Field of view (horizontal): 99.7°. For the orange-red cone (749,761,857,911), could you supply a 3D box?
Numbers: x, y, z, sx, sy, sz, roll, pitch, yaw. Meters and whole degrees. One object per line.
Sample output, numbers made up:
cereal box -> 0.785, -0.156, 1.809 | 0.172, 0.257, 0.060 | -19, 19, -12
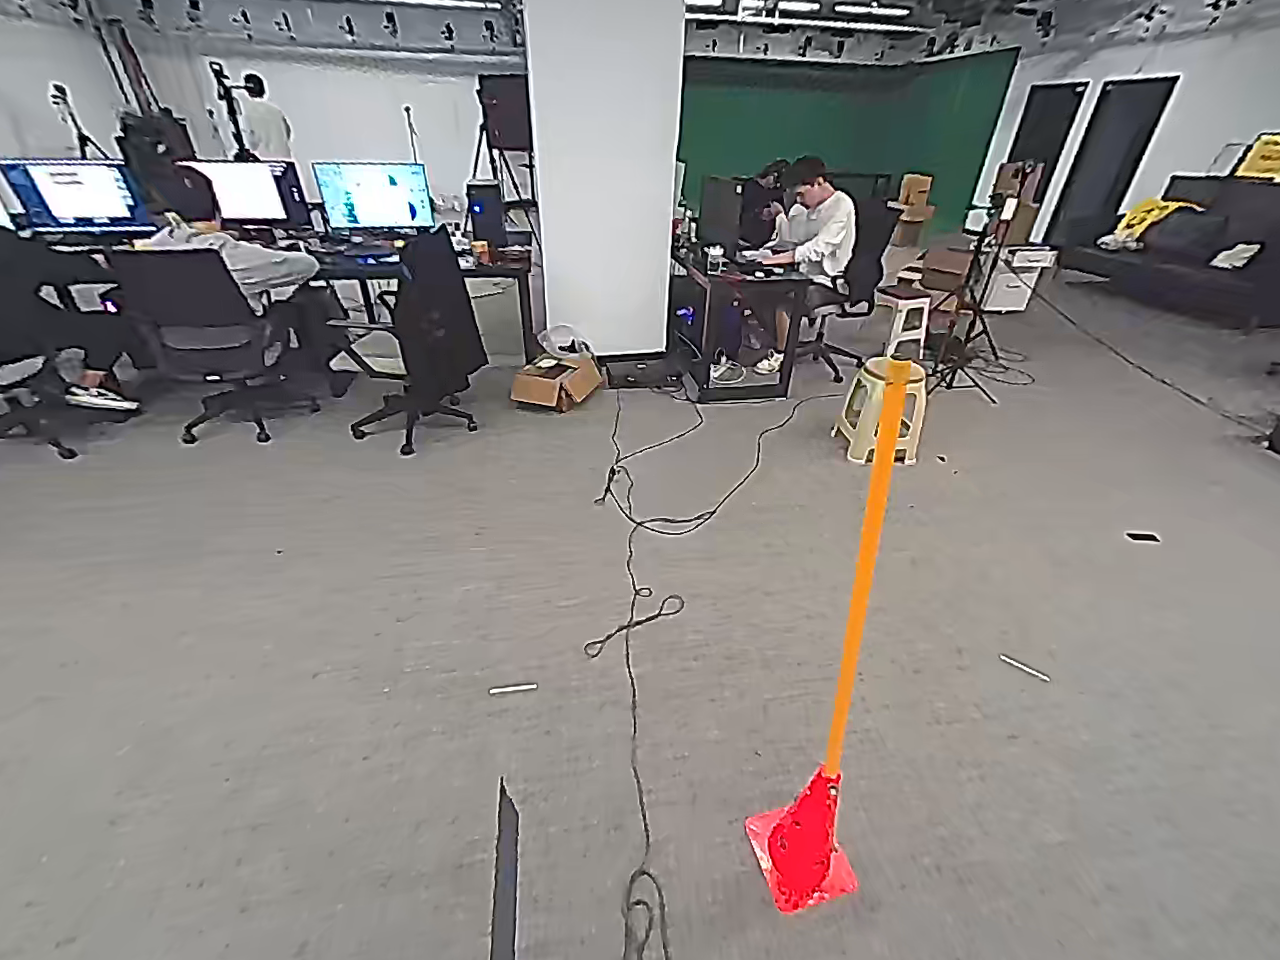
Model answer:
orange-red cone -> 0.373, 0.721, 1.160 | 0.199, 0.360, 0.198 | -8, 33, -12
